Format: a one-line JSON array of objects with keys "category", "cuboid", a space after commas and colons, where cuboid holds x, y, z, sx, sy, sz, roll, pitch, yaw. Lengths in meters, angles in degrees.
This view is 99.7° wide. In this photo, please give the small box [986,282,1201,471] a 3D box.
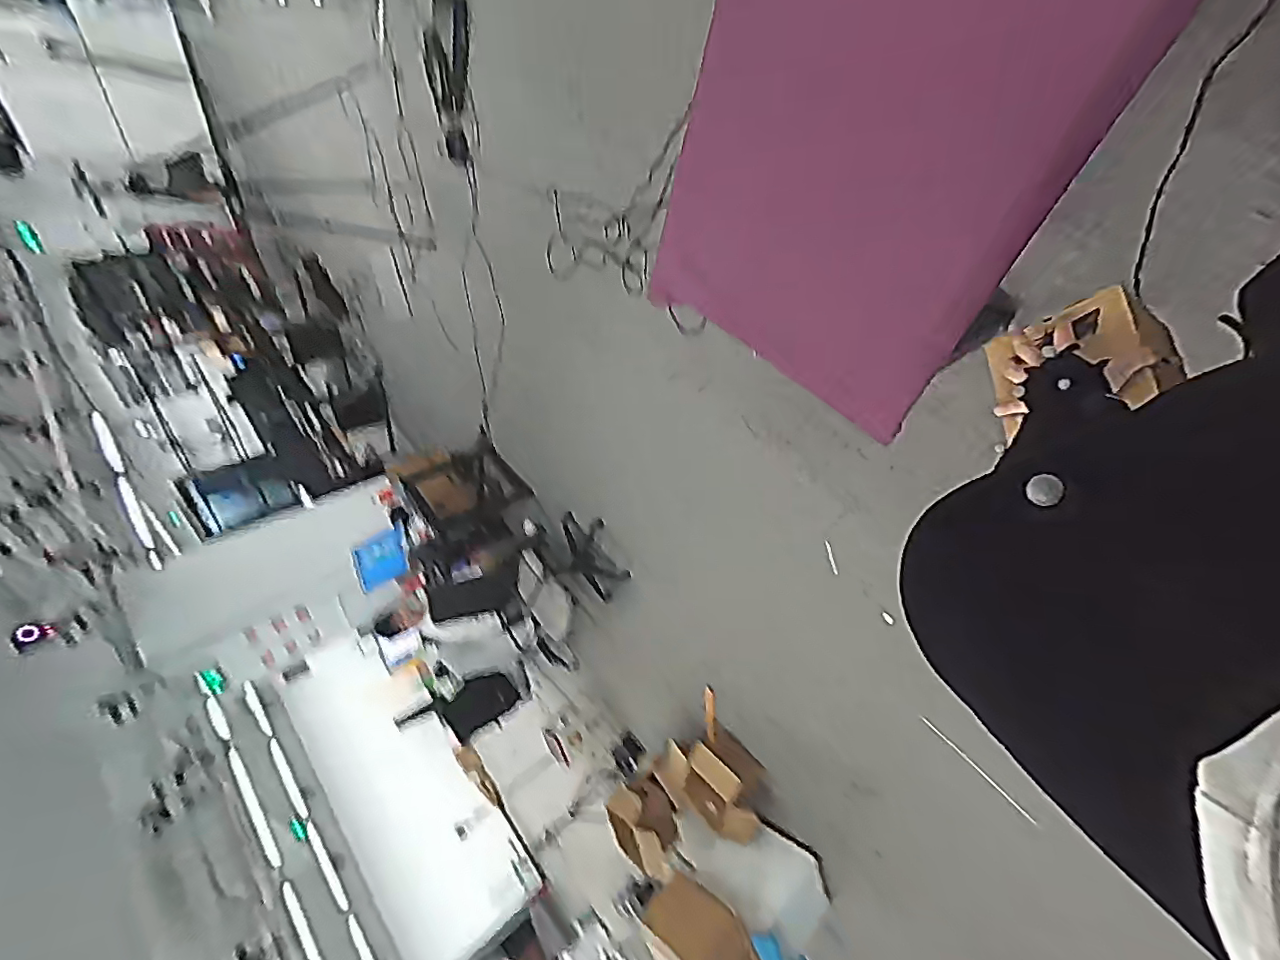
[{"category": "small box", "cuboid": [0.621, -0.131, 0.750, 0.168, 0.176, 0.179, -27, 55, 52]}]
